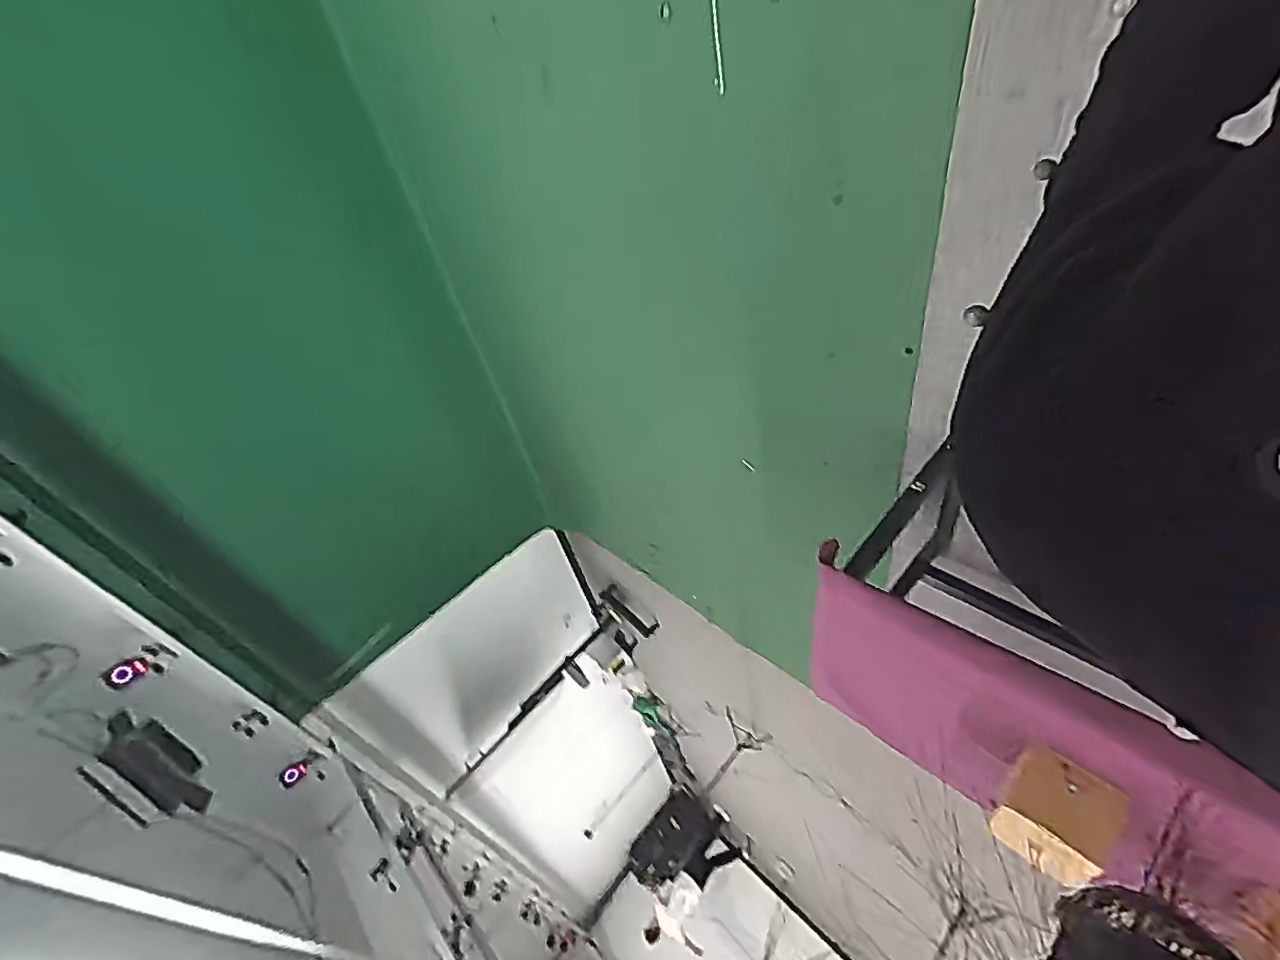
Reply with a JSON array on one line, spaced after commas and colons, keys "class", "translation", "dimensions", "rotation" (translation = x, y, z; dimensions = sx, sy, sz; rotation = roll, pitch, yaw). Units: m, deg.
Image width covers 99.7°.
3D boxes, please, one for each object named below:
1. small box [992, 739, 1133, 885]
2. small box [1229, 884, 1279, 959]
[{"class": "small box", "translation": [0.872, 0.683, 1.121], "dimensions": [0.168, 0.176, 0.179], "rotation": [29, 147, 36]}, {"class": "small box", "translation": [1.138, 0.831, 0.897], "dimensions": [0.179, 0.176, 0.168], "rotation": [25, 144, 42]}]
